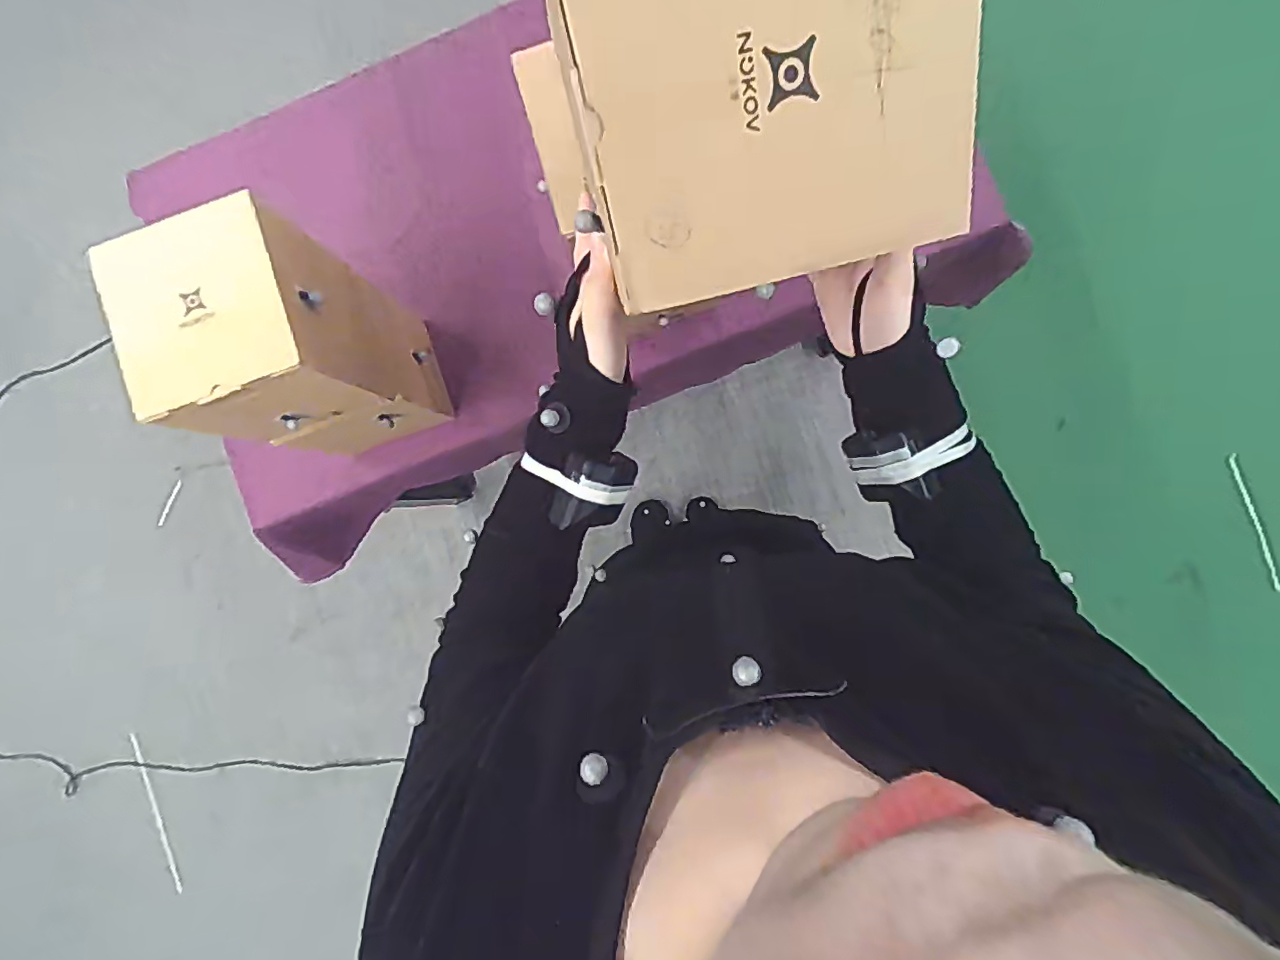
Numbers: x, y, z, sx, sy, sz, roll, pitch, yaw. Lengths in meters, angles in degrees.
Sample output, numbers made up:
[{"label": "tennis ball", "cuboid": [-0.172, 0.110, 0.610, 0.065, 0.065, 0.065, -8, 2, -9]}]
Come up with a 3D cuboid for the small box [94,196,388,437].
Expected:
[{"label": "small box", "cuboid": [-0.407, -0.157, 0.582, 0.168, 0.176, 0.179, -19, 88, 3]}]

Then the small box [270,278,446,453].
[{"label": "small box", "cuboid": [-0.390, -0.145, 0.744, 0.179, 0.176, 0.168, -19, 86, 3]}]

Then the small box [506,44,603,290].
[{"label": "small box", "cuboid": [-0.013, -0.316, 0.555, 0.168, 0.176, 0.179, -16, 87, 4]}]

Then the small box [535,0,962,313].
[{"label": "small box", "cuboid": [0.047, -0.207, 0.306, 0.179, 0.176, 0.168, -13, 118, 1]}]
